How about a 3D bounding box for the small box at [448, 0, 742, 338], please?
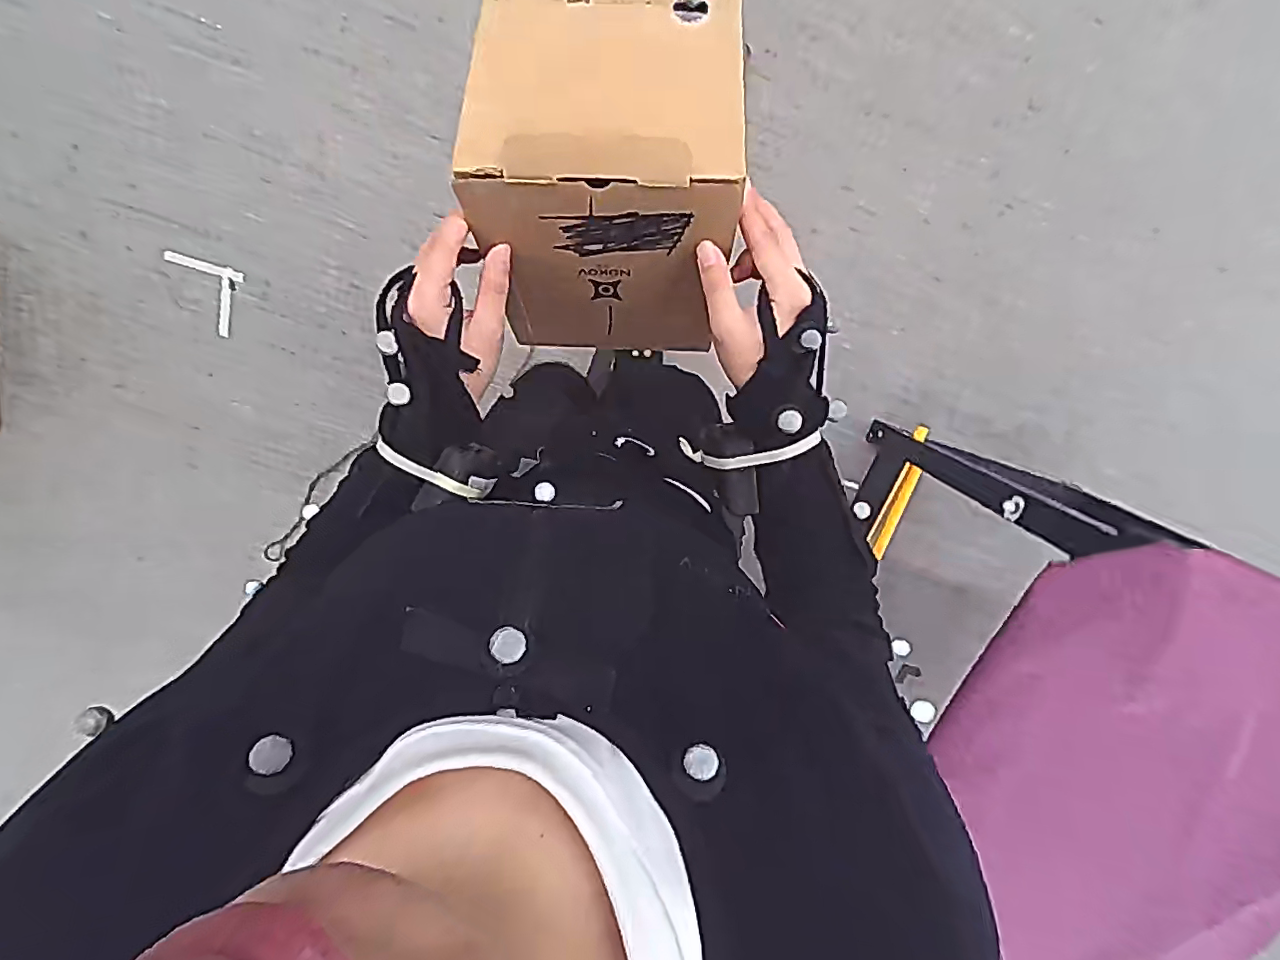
[{"bbox_3d":[-0.025,-0.225,0.397,0.168,0.179,0.176,2,72,0],"label":"small box"}]
